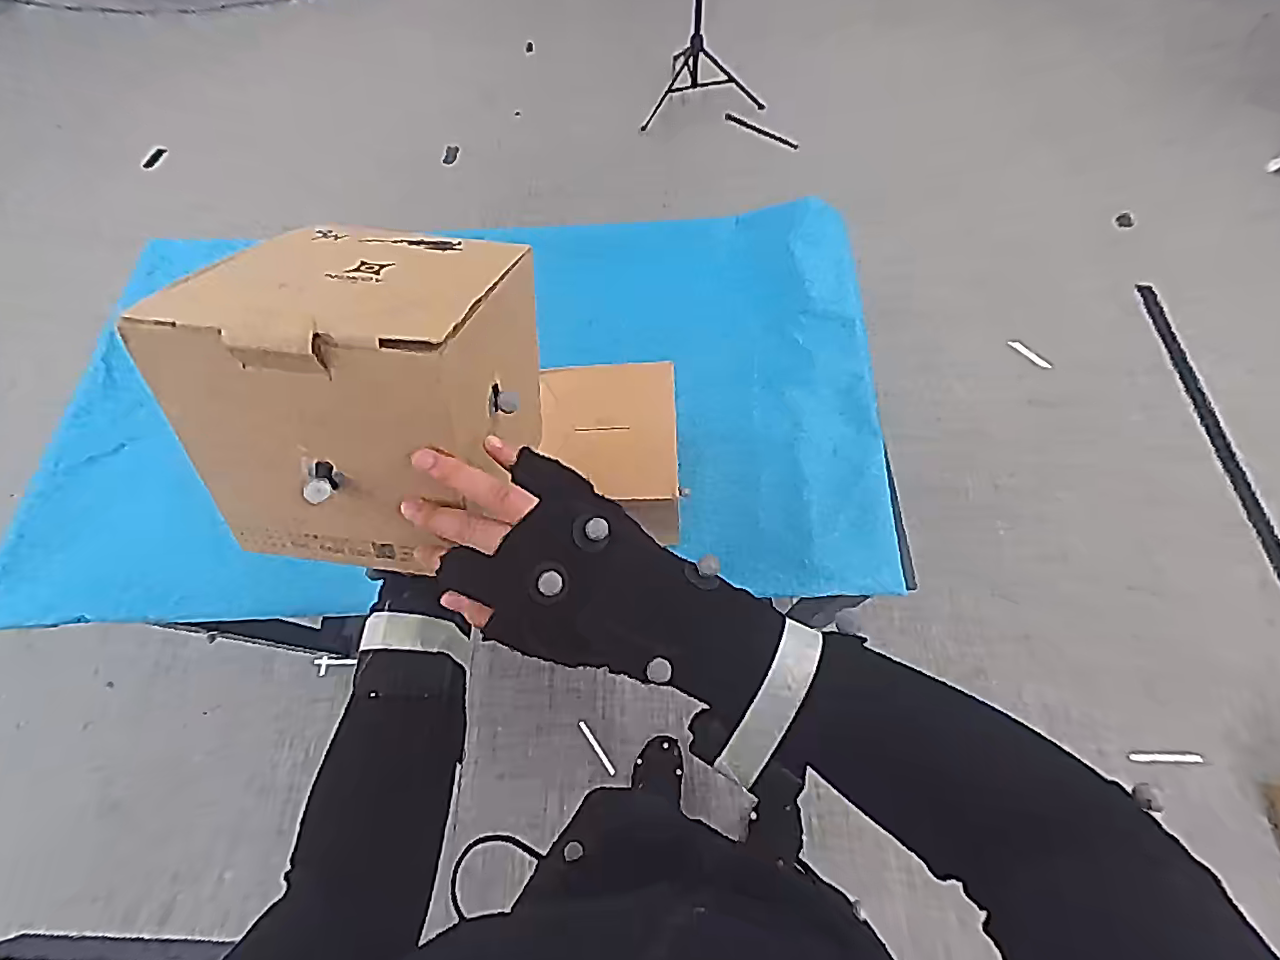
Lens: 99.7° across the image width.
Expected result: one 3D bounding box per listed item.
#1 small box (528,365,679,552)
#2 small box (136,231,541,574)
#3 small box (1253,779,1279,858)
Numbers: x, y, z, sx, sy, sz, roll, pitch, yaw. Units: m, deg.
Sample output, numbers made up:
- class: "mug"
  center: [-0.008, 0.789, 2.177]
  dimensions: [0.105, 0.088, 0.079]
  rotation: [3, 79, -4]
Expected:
- class: "small box"
  center: [-0.038, -0.020, 0.679]
  dimensions: [0.168, 0.176, 0.179]
  rotation: [-2, 65, 3]
- class: "small box"
  center: [-0.169, -0.055, 0.382]
  dimensions: [0.168, 0.176, 0.179]
  rotation: [7, 41, 2]
- class: "small box"
  center: [1.408, 0.703, 1.070]
  dimensions: [0.168, 0.176, 0.179]
  rotation: [1, 65, 3]
